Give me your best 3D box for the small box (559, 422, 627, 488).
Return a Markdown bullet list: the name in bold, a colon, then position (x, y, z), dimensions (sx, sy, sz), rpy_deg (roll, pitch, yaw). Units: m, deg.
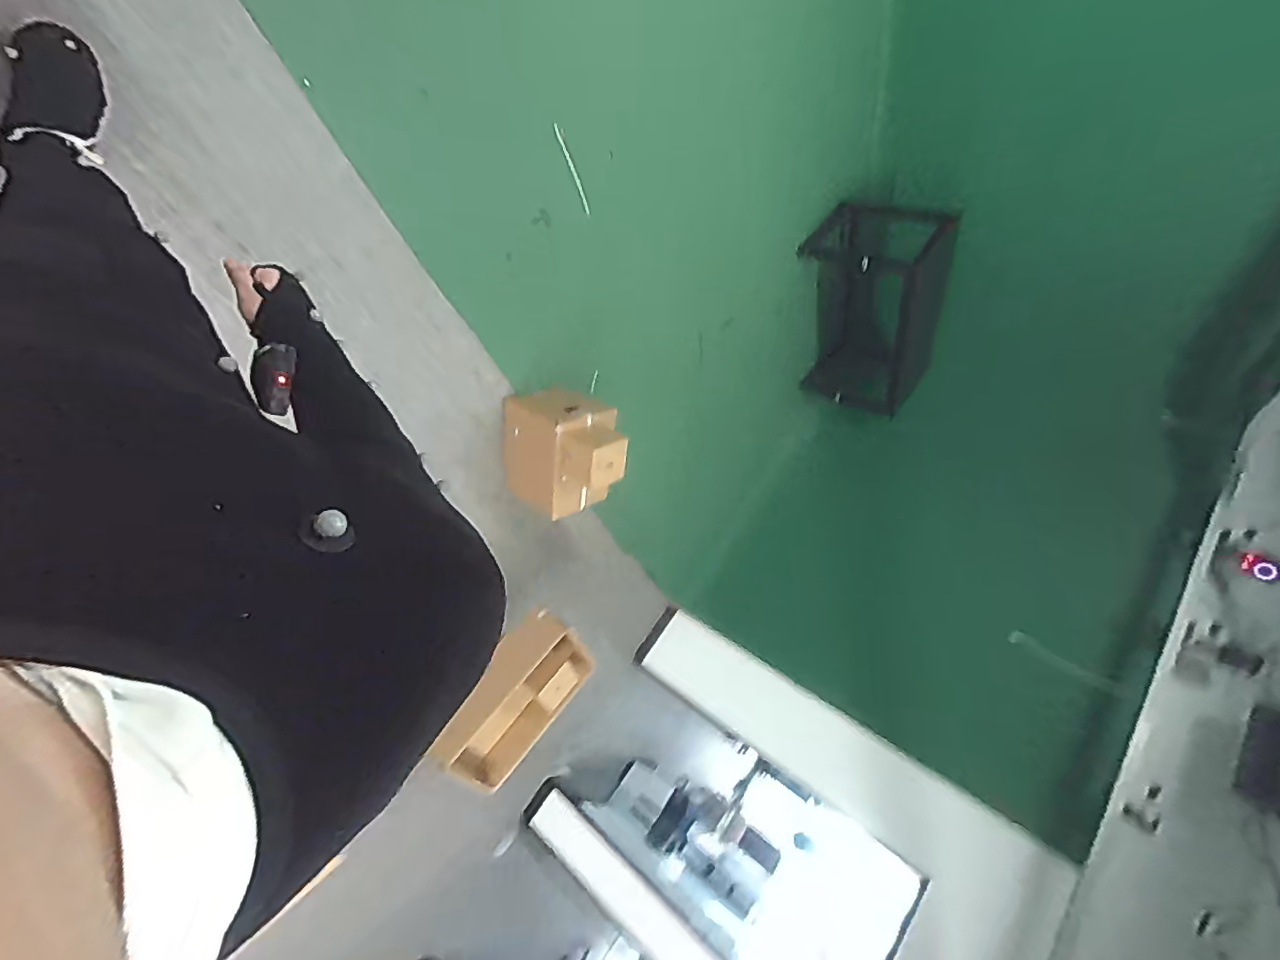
- **small box**: position (-0.174, -0.097, 1.973), dimensions (0.179, 0.176, 0.168), rpy_deg (-24, 131, -43)
